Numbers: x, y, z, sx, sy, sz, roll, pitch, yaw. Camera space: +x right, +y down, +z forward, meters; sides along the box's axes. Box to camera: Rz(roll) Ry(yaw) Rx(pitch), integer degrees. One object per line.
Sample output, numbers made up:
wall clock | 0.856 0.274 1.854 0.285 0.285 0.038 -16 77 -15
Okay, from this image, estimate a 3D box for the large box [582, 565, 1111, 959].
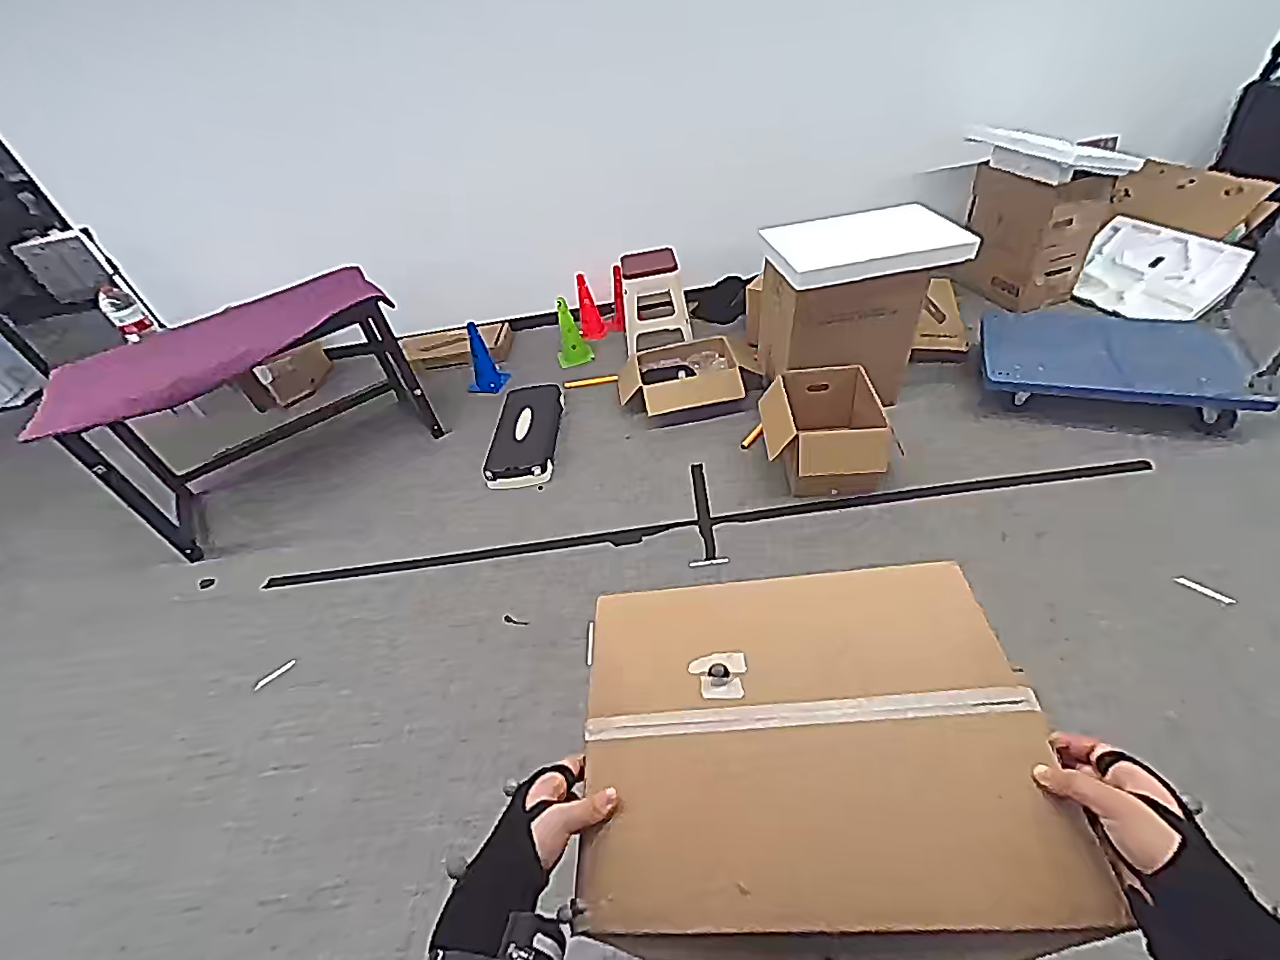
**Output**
large box | 0.179 0.334 0.619 0.408 0.320 0.320 -9 42 9
